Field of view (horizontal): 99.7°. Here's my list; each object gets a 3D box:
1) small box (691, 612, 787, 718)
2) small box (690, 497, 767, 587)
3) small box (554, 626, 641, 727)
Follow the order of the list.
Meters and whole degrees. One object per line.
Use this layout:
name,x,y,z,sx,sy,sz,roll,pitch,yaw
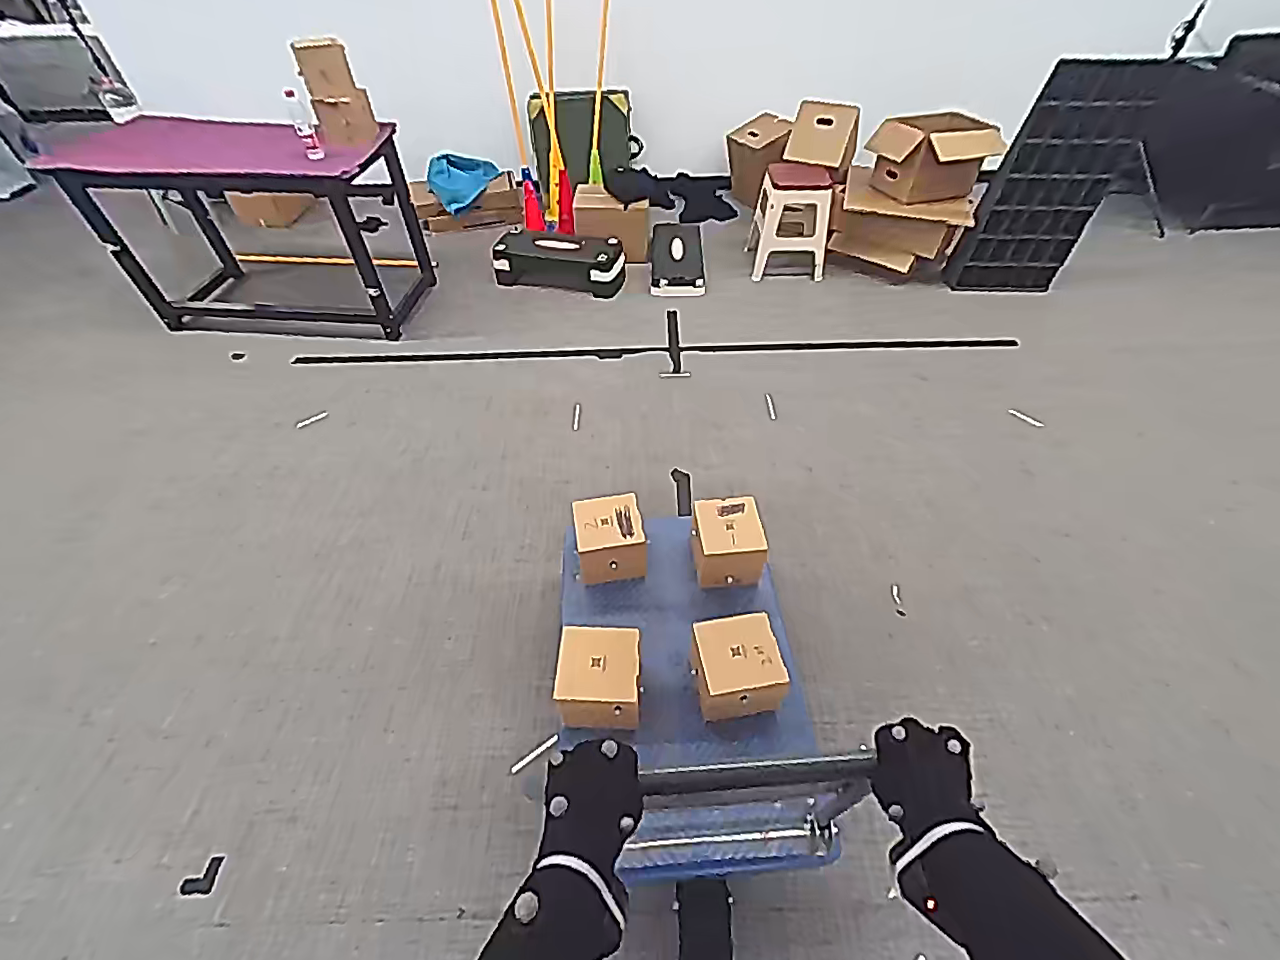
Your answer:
small box,0.217,0.428,1.242,0.179,0.176,0.168,-8,49,-6
small box,0.232,0.170,1.471,0.168,0.176,0.179,-5,50,-3
small box,-0.089,0.449,1.229,0.179,0.176,0.168,2,48,0
